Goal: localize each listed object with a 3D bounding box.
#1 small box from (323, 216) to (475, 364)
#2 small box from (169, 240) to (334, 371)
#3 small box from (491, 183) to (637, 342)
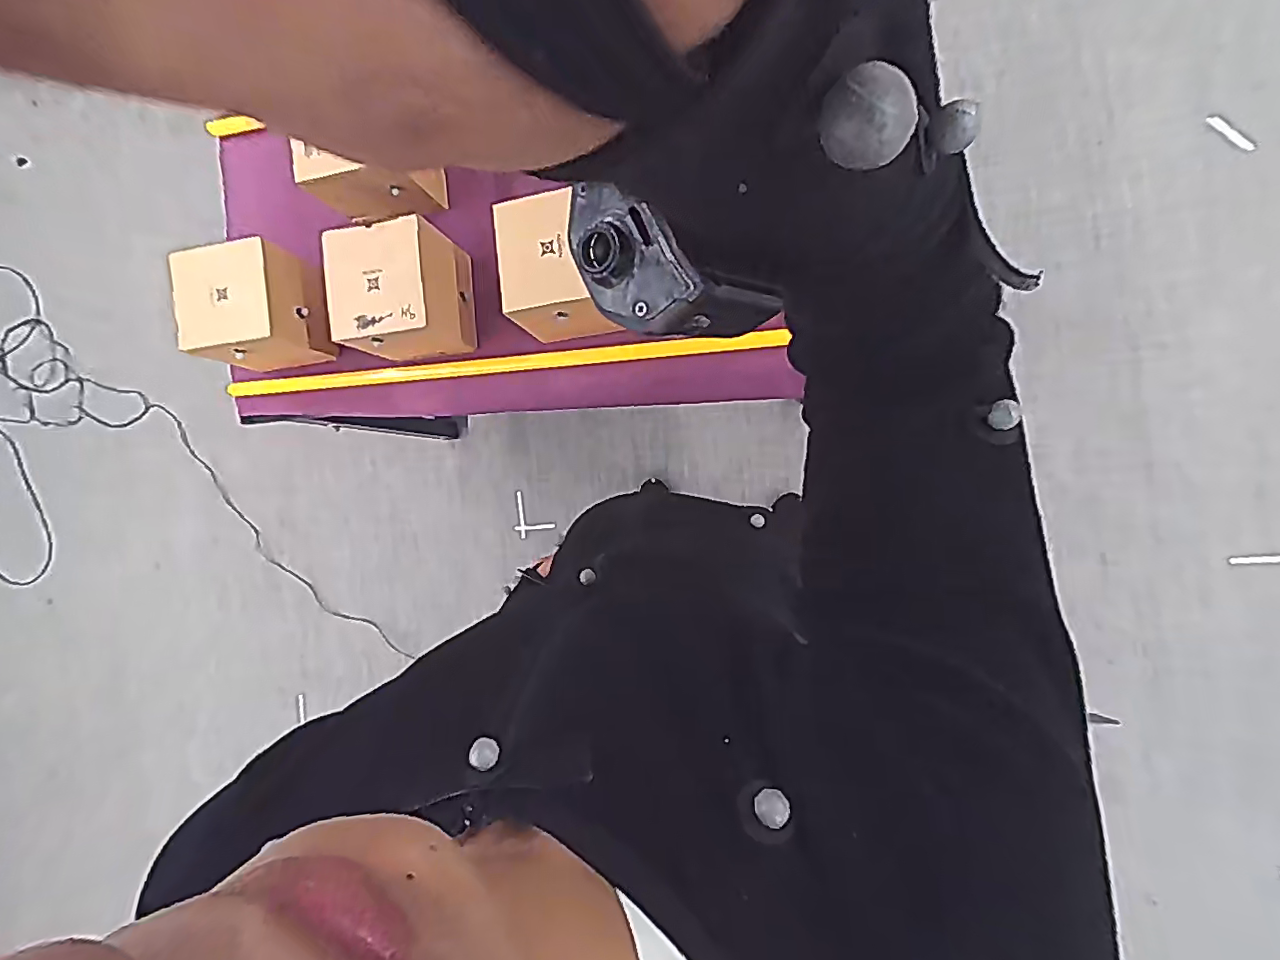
[{"bbox_3d":[-0.393,-0.305,0.902,0.168,0.176,0.179,-5,89,12],"label":"small box"},{"bbox_3d":[-0.669,-0.296,0.954,0.179,0.176,0.168,-6,89,10],"label":"small box"},{"bbox_3d":[-0.112,-0.327,0.849,0.179,0.176,0.168,-6,88,11],"label":"small box"}]
